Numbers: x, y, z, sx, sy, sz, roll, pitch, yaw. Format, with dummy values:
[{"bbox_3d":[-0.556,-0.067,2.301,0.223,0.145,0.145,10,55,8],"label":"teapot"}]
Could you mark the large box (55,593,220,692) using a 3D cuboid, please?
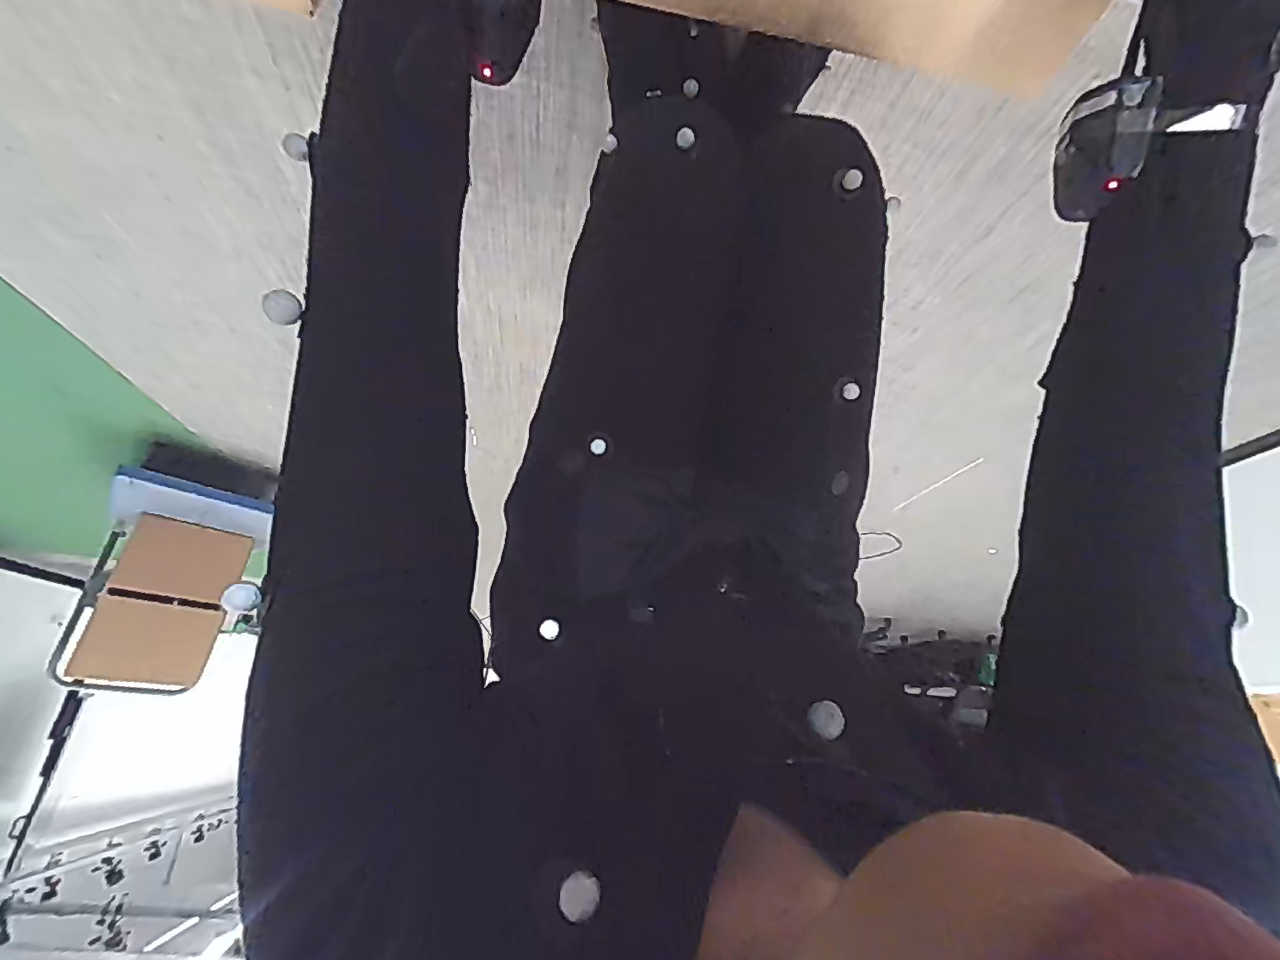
[{"bbox_3d":[-2.027,0.666,2.216,0.408,0.320,0.320,25,153,-35],"label":"large box"}]
